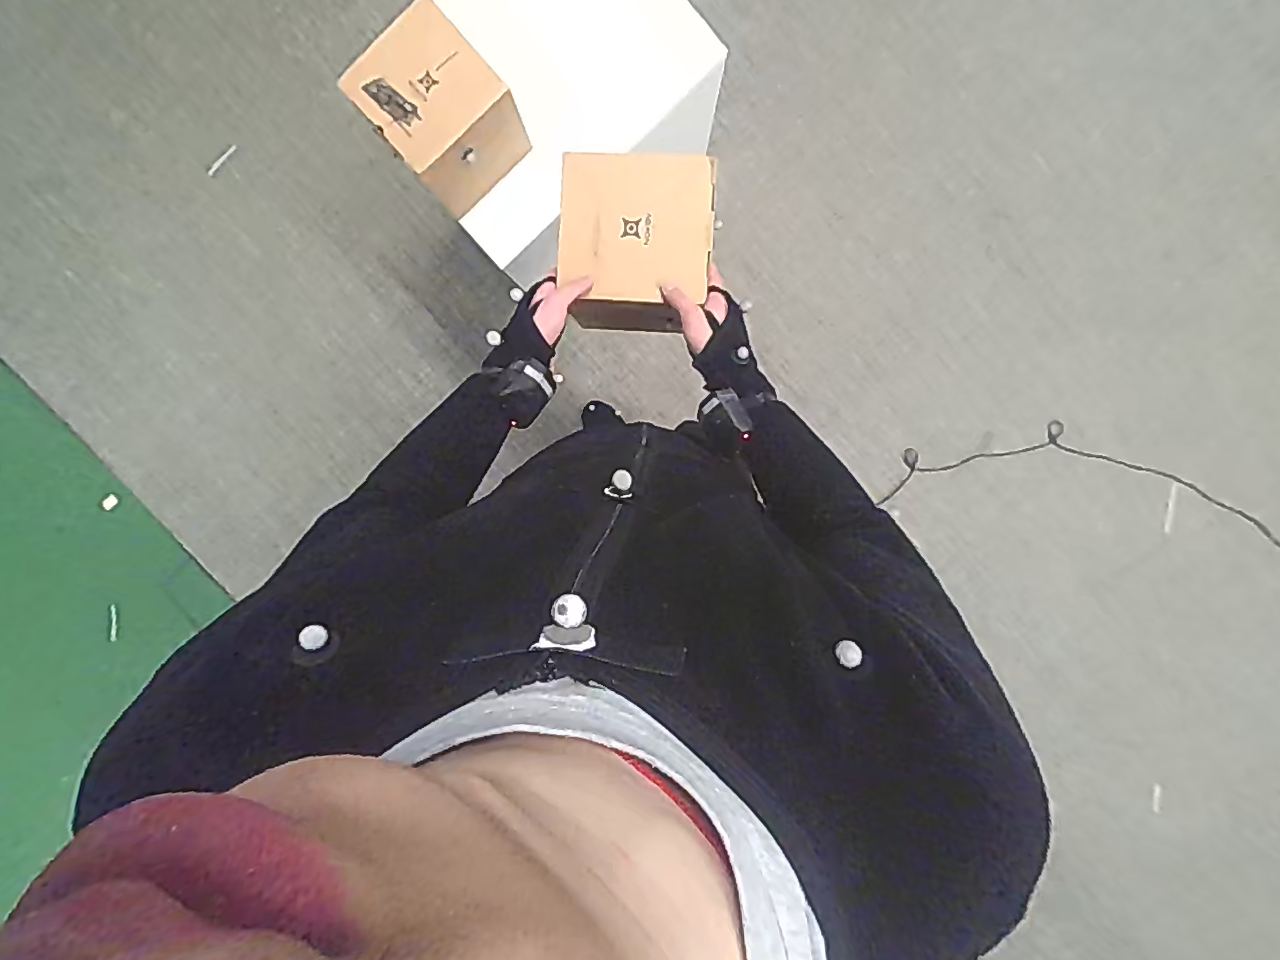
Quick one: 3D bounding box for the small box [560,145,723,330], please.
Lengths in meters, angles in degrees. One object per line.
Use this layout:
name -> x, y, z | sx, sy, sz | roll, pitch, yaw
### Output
small box -> 0.005, -0.290, 0.680 | 0.179, 0.176, 0.168 | 3, 94, 4

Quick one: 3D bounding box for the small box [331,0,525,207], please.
small box -> -0.293, -0.544, 0.794 | 0.179, 0.176, 0.168 | -42, 96, 4
